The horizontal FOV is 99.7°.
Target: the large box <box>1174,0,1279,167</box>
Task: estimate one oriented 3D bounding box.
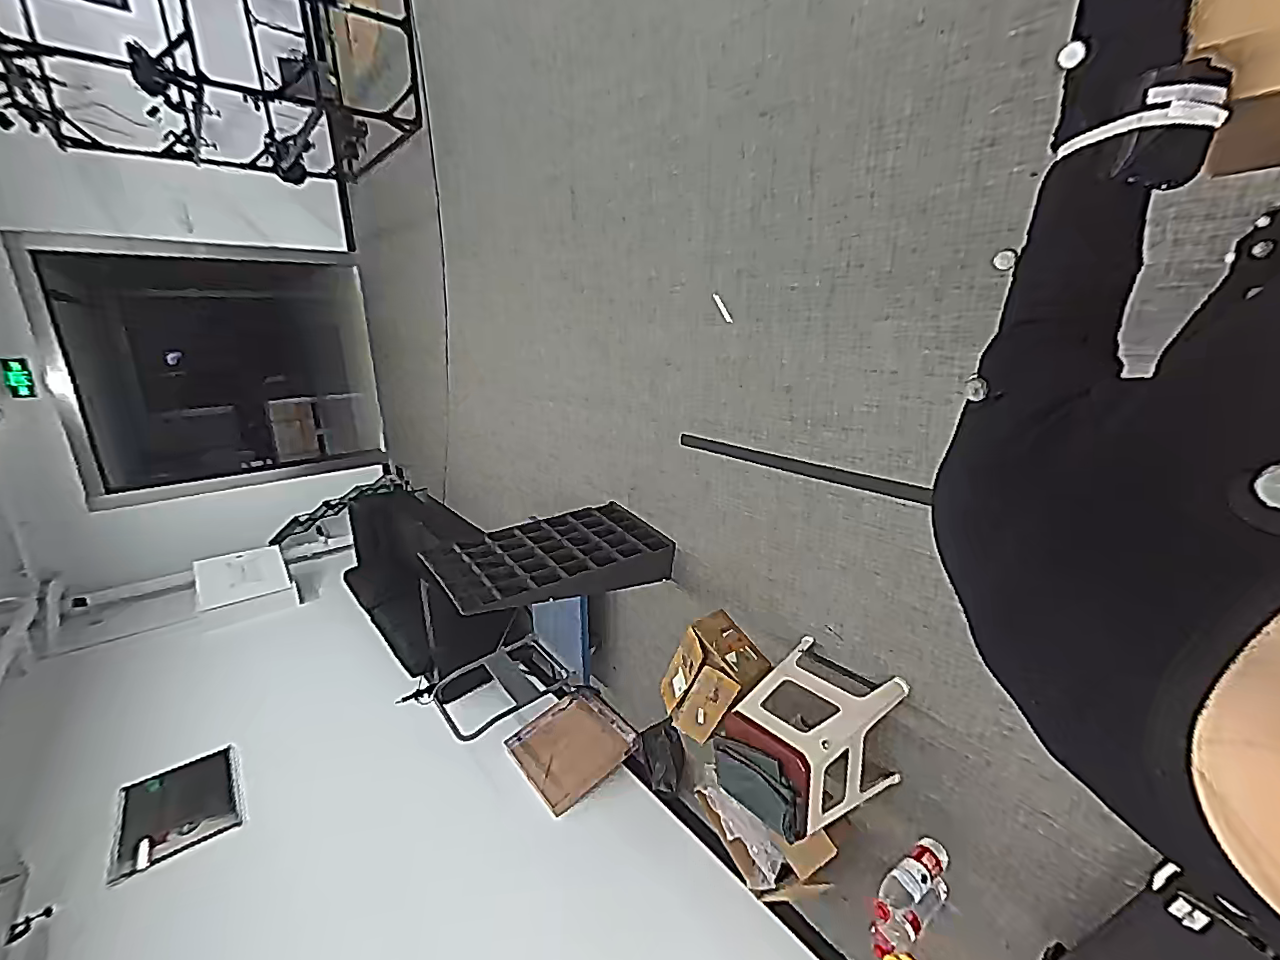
[{"bbox_3d":[0.612,-0.417,0.299,0.408,0.320,0.320,14,113,47],"label":"large box"}]
